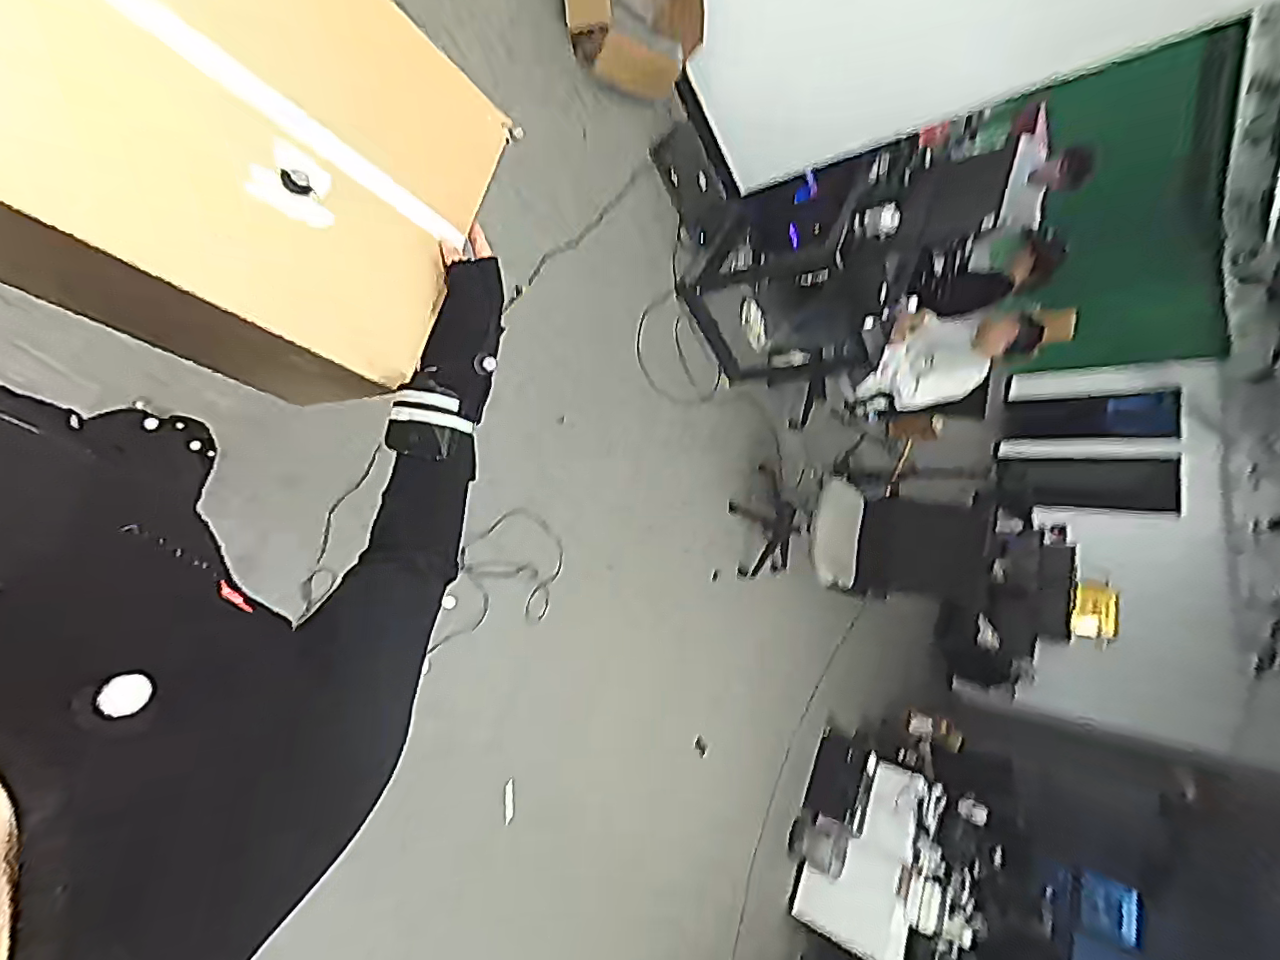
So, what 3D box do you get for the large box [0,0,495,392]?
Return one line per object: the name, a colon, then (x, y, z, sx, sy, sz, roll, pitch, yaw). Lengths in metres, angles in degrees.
large box: (-0.423, -0.311, 0.498, 0.408, 0.320, 0.320, 28, 73, -45)
